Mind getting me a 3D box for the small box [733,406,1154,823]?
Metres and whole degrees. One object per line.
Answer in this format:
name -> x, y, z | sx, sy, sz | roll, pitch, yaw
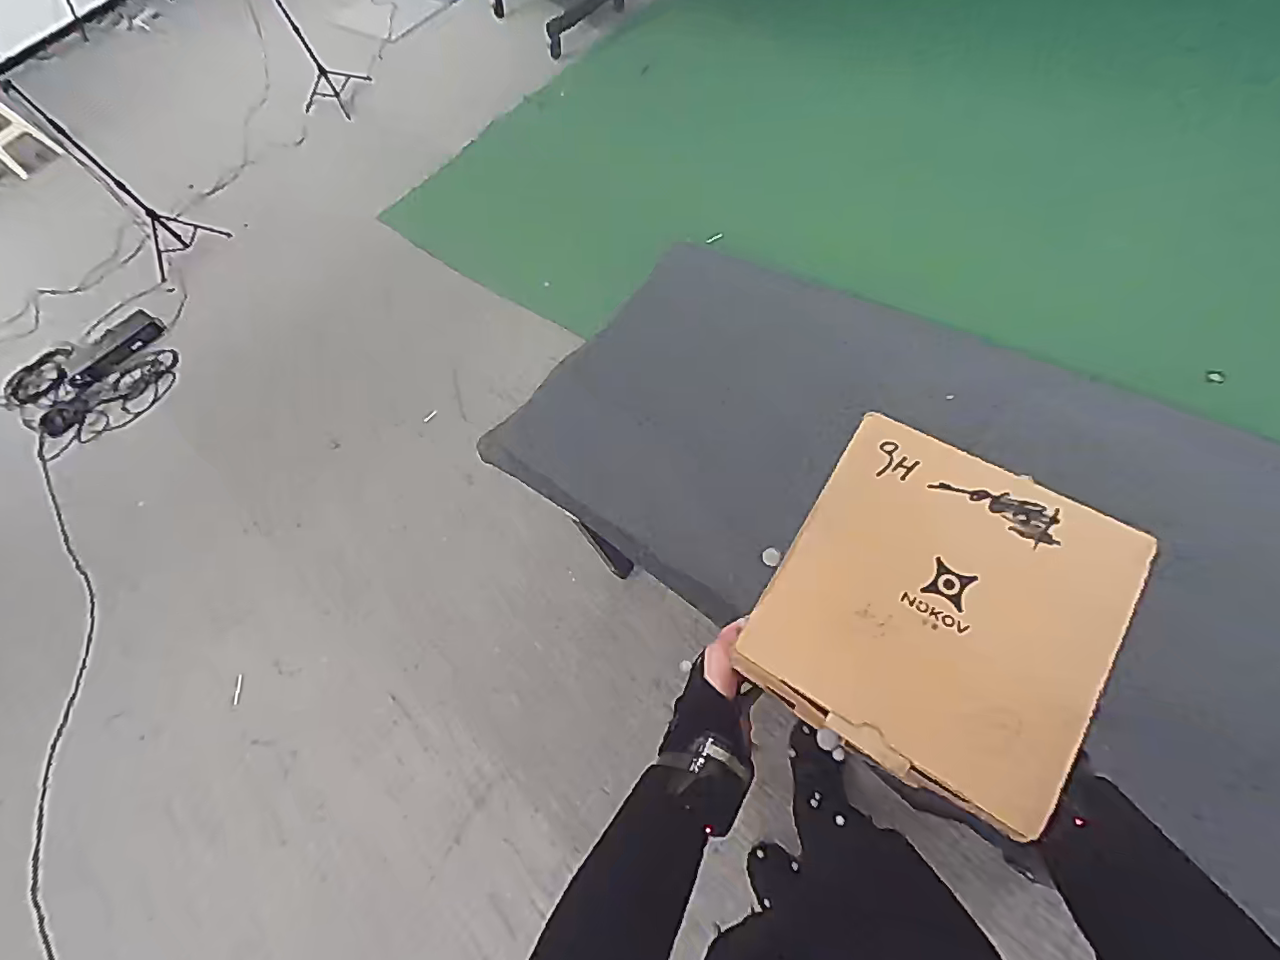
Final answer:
small box -> 0.181, 0.086, 0.378 | 0.168, 0.176, 0.179 | 31, 79, 18
